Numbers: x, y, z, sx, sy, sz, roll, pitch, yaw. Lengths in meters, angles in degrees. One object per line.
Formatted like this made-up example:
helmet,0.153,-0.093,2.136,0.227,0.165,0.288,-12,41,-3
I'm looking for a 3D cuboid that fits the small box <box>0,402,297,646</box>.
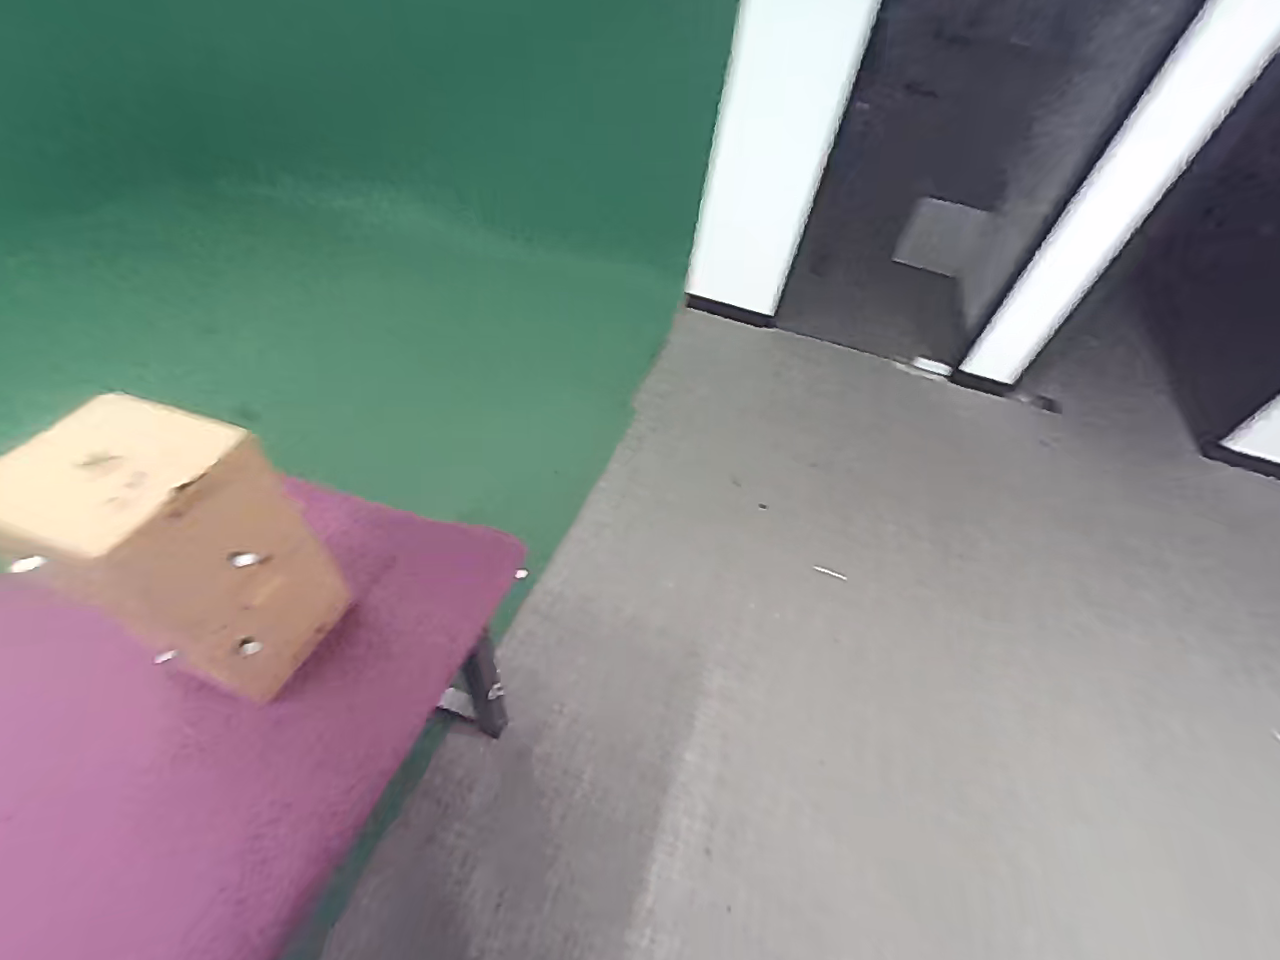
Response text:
small box,-0.515,0.050,0.567,0.179,0.176,0.168,16,49,7
